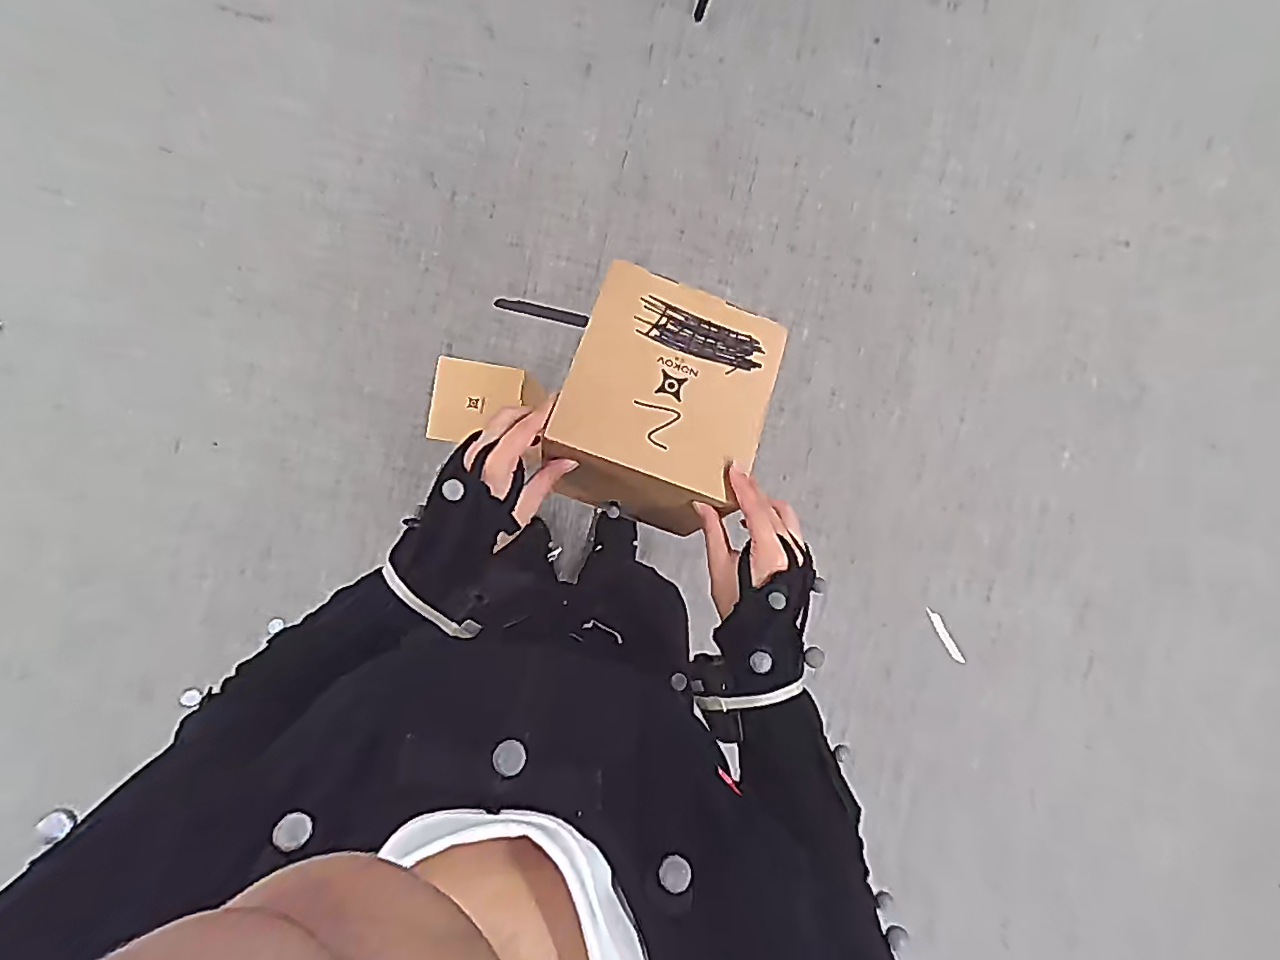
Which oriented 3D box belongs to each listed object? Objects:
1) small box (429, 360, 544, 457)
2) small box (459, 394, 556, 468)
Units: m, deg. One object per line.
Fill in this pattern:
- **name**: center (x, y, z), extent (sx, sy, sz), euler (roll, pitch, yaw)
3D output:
- **small box**: center (-0.315, -0.142, 1.138), extent (0.179, 0.176, 0.168), euler (9, 90, 1)
- **small box**: center (-0.310, -0.132, 1.301), extent (0.168, 0.176, 0.179), euler (16, 89, 1)
